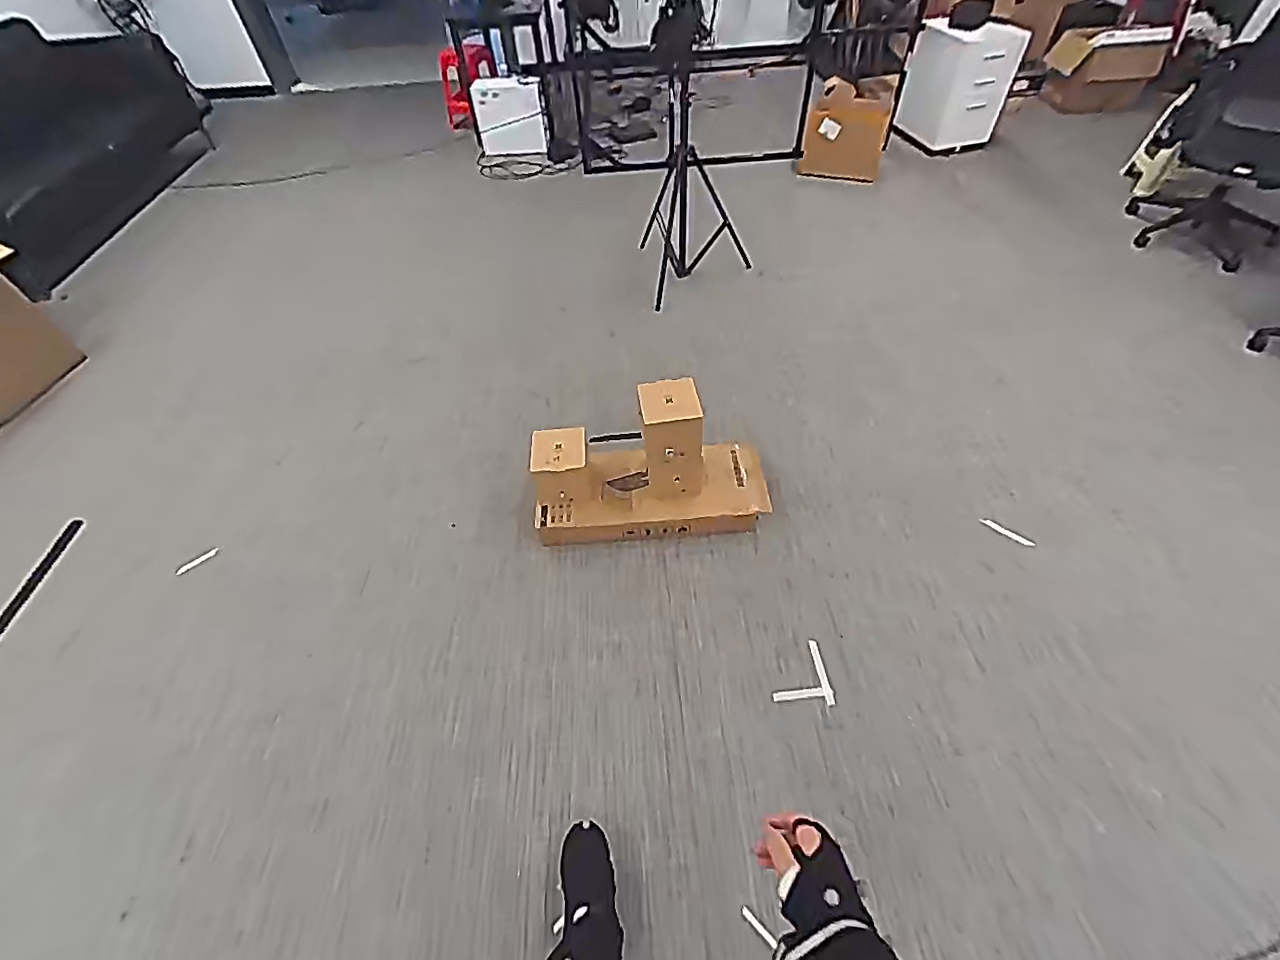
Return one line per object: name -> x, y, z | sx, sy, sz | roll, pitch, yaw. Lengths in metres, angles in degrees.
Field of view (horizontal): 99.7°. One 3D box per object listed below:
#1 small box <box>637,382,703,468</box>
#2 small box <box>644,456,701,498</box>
small box -> 0.084, -0.160, 1.590 | 0.168, 0.176, 0.179 | -9, 51, -3
small box -> 0.100, -0.055, 1.715 | 0.168, 0.176, 0.179 | -6, 50, -2
